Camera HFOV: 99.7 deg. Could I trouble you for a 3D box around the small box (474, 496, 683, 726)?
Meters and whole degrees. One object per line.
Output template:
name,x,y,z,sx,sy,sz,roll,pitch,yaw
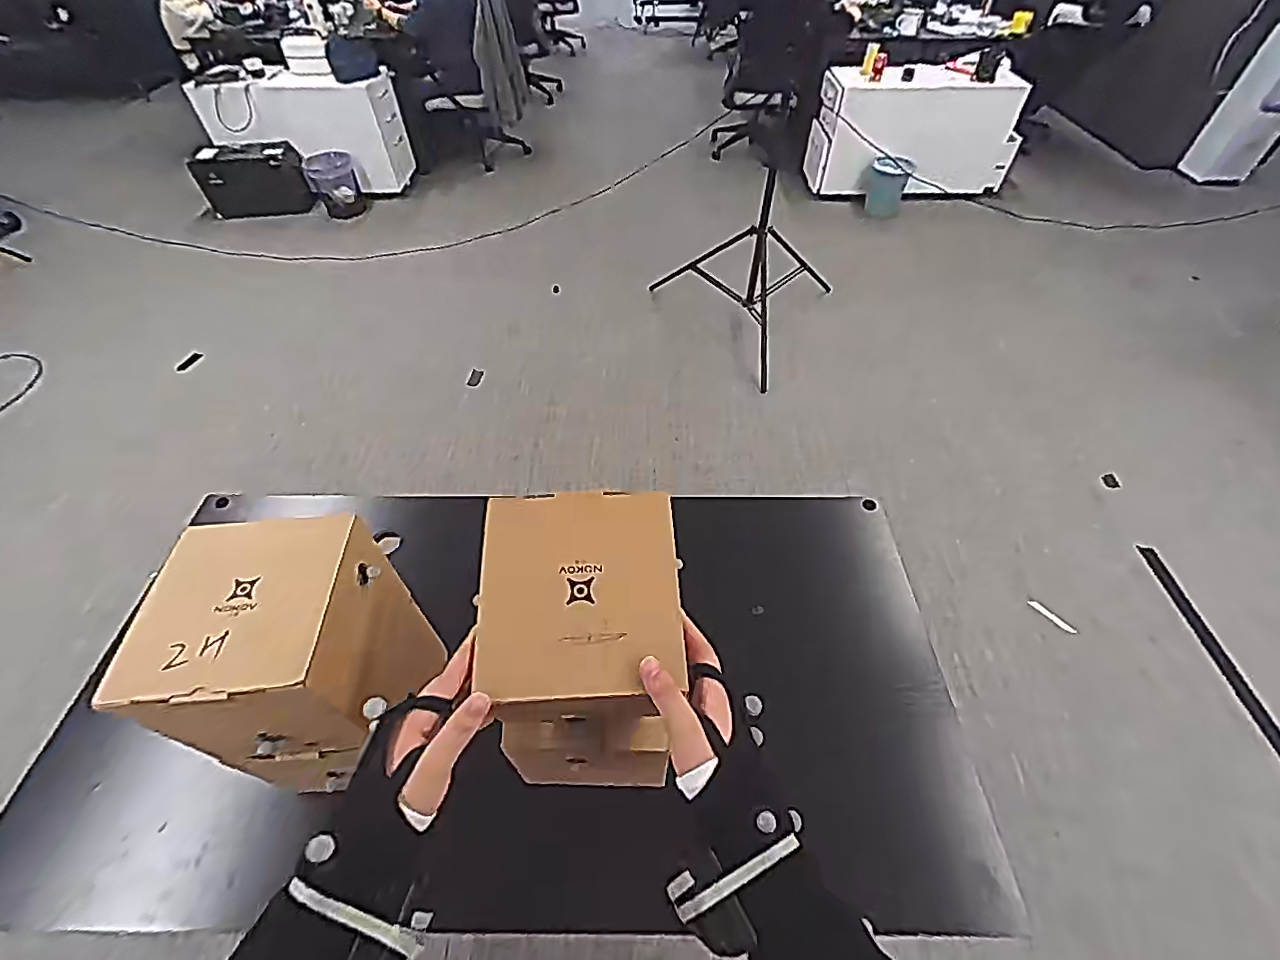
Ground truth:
small box,-0.054,0.132,0.530,0.168,0.176,0.179,-2,59,-3

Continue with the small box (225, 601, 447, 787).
small box,-0.354,0.272,0.676,0.168,0.176,0.179,-3,50,-2

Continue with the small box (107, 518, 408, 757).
small box,-0.355,0.161,0.552,0.168,0.176,0.179,-5,50,-3

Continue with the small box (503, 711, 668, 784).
small box,-0.055,0.269,0.673,0.179,0.176,0.168,1,49,1
